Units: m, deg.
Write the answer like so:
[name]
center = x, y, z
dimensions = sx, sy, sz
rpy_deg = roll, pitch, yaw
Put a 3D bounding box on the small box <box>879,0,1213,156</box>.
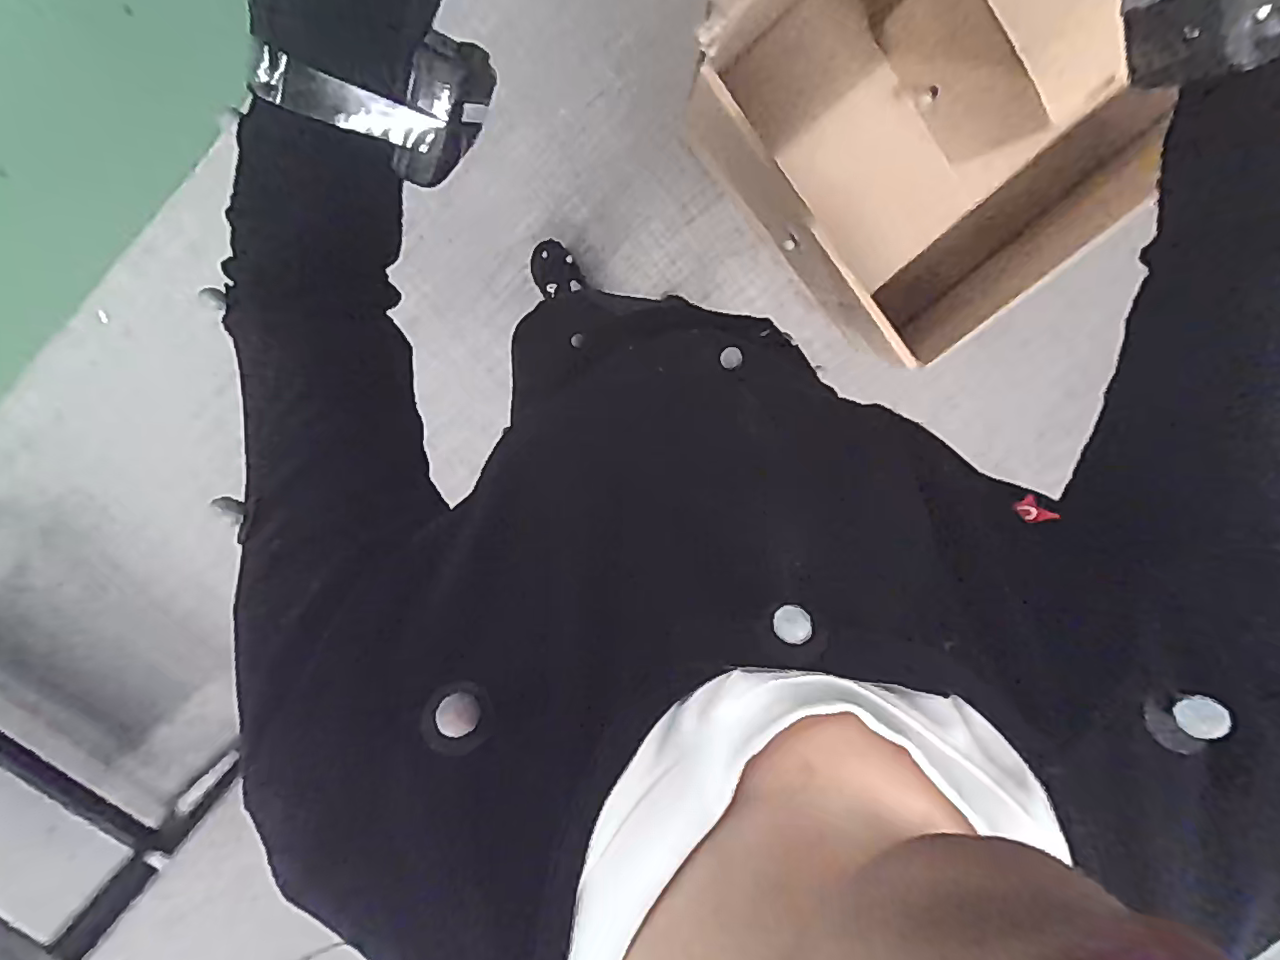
[small box]
center = 0.376, -0.452, 0.528
dimensions = 0.168, 0.176, 0.179
rpy_deg = -40, 106, 11
